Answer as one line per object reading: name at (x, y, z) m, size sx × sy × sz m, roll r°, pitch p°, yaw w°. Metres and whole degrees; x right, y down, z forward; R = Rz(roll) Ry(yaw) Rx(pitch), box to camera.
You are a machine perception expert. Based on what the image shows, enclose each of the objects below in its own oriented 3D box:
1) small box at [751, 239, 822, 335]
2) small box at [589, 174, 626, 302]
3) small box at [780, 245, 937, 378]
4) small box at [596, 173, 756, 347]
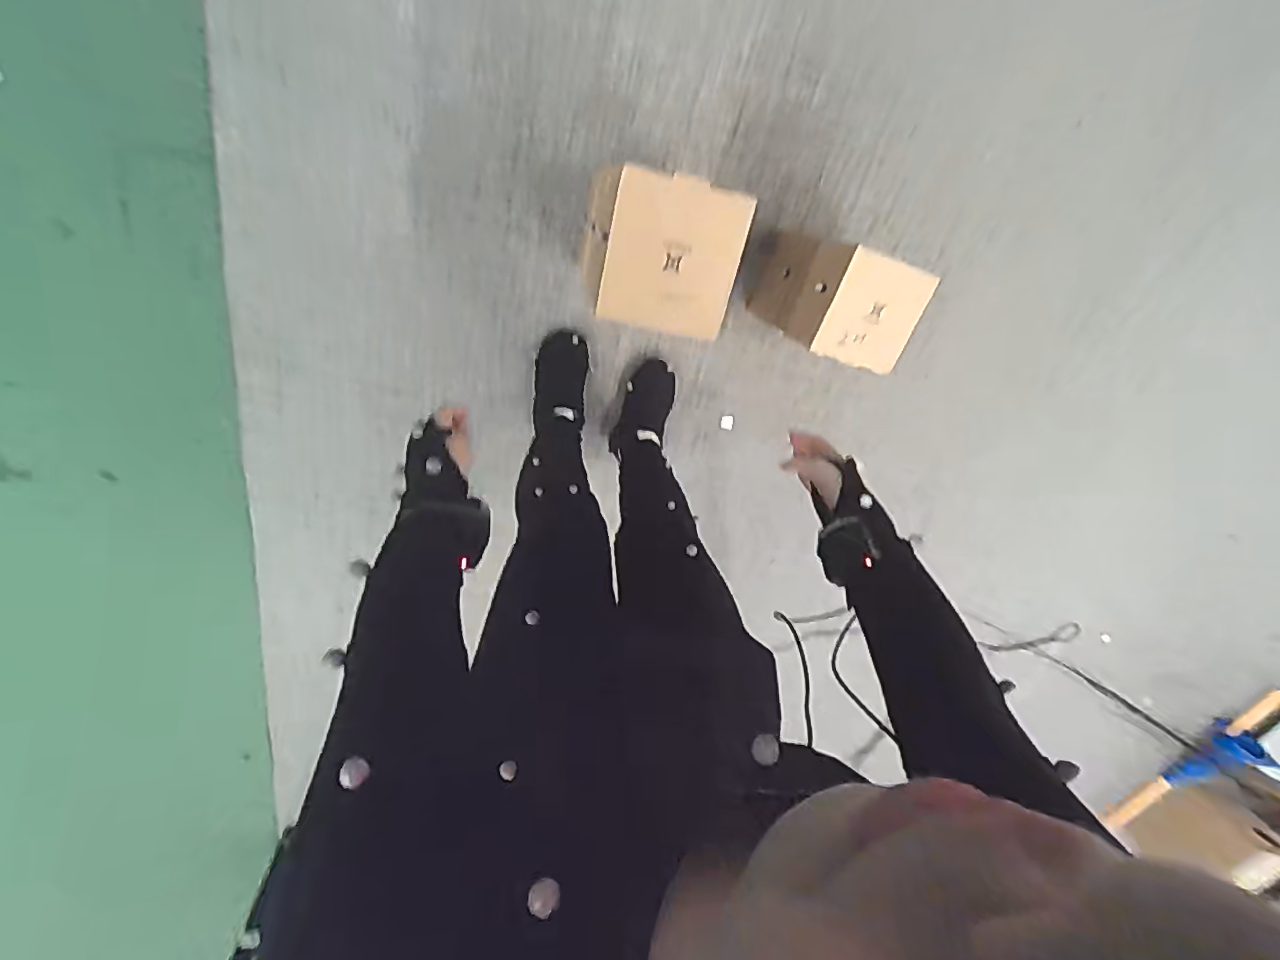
small box at (0.351, -0.382, 1.117) m, size 0.168 × 0.176 × 0.179 m, roll 15°, pitch 115°, yaw -16°
small box at (0.010, -0.379, 0.877) m, size 0.168 × 0.176 × 0.179 m, roll 7°, pitch 117°, yaw -12°
small box at (0.377, -0.308, 0.972) m, size 0.168 × 0.176 × 0.179 m, roll 13°, pitch 115°, yaw -15°
small box at (0.034, -0.300, 0.737) m, size 0.168 × 0.176 × 0.179 m, roll 8°, pitch 117°, yaw -11°
